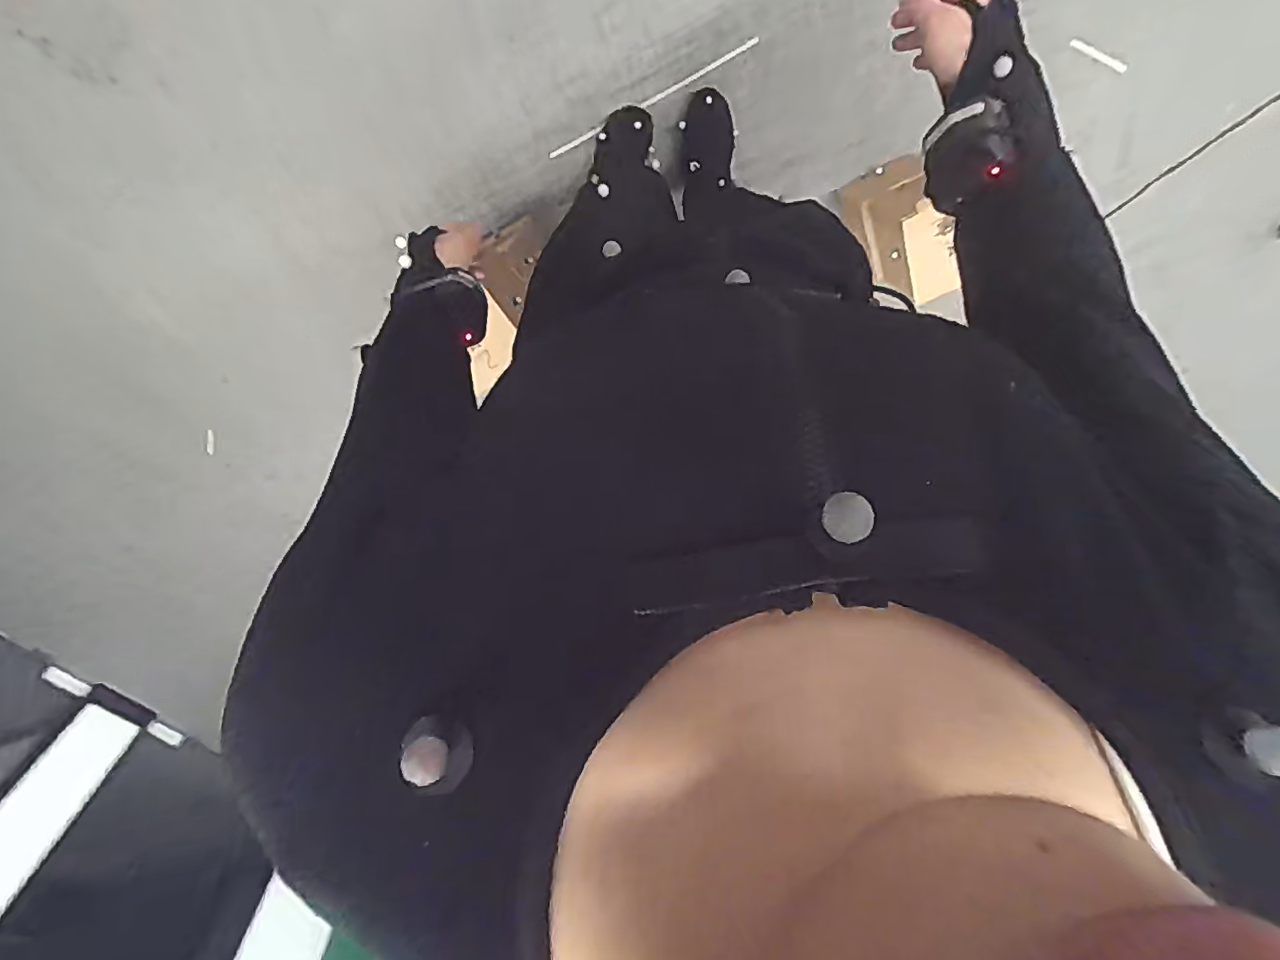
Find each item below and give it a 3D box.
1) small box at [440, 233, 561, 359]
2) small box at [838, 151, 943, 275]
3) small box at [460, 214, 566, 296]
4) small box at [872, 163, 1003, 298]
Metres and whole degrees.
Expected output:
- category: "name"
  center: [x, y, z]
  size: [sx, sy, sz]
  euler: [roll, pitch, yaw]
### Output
- category: "small box"
  center: [-0.283, -0.393, 1.144]
  size: [0.179, 0.176, 0.168]
  euler: [-24, 122, 19]
- category: "small box"
  center: [0.557, -0.589, 1.188]
  size: [0.168, 0.176, 0.179]
  euler: [-23, 124, 16]
- category: "small box"
  center: [-0.287, -0.497, 1.269]
  size: [0.179, 0.176, 0.168]
  euler: [-22, 123, 16]
- category: "small box"
  center: [0.574, -0.492, 1.055]
  size: [0.168, 0.176, 0.179]
  euler: [-21, 125, 16]
